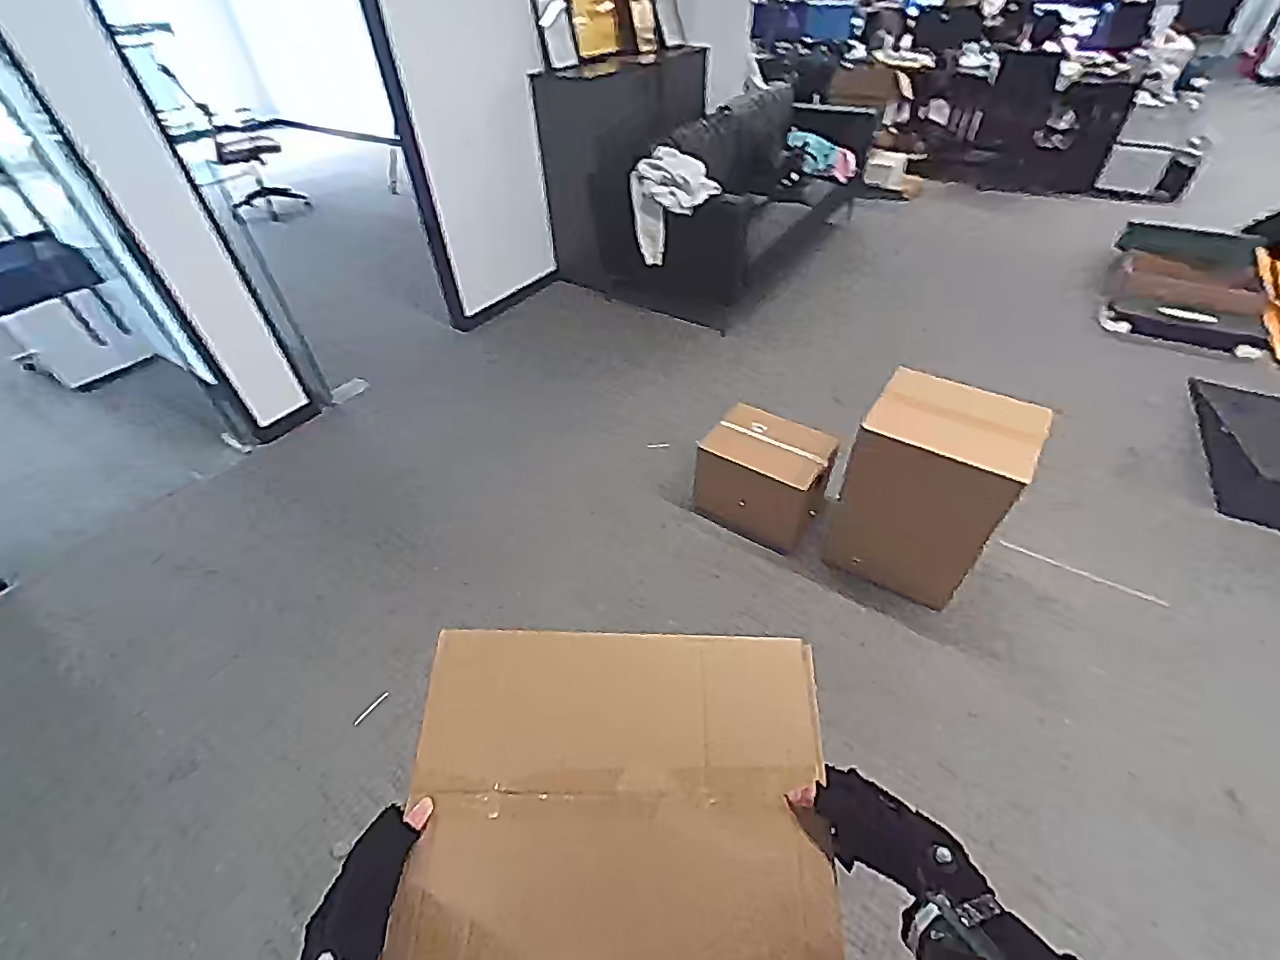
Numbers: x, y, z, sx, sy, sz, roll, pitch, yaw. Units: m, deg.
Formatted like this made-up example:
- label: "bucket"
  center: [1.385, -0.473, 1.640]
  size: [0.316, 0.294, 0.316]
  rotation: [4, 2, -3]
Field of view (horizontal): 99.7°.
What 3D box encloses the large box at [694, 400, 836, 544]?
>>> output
- label: "large box"
  center: [0.444, -0.034, 1.970]
  size: [0.408, 0.320, 0.320]
  rotation: [25, 50, 27]
